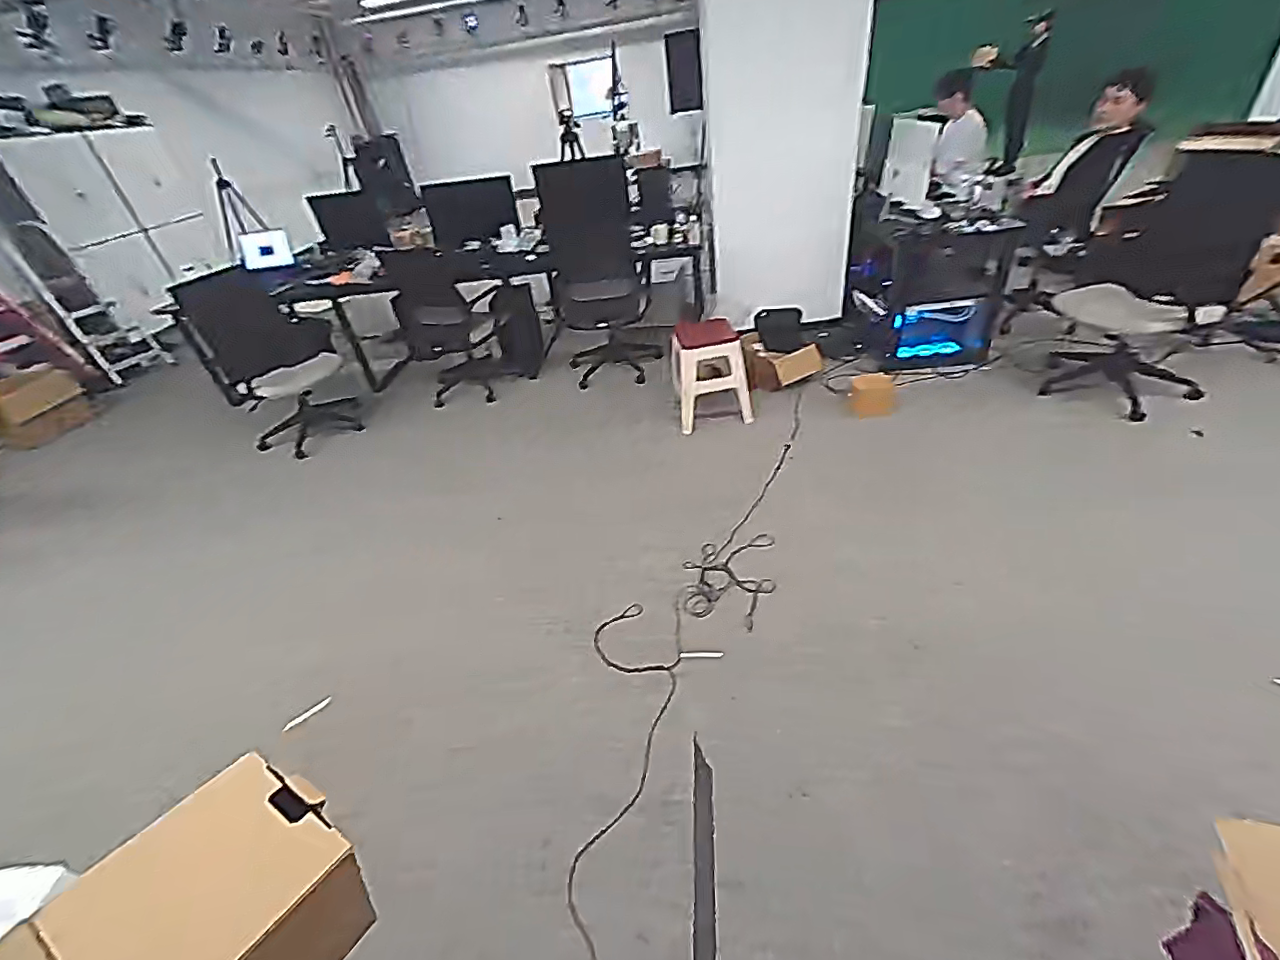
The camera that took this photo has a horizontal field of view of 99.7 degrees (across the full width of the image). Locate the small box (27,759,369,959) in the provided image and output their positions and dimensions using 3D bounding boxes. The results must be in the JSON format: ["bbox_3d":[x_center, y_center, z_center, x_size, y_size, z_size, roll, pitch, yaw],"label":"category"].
[{"bbox_3d":[-0.388,0.419,0.508,0.168,0.176,0.179,22,35,22],"label":"small box"}]
